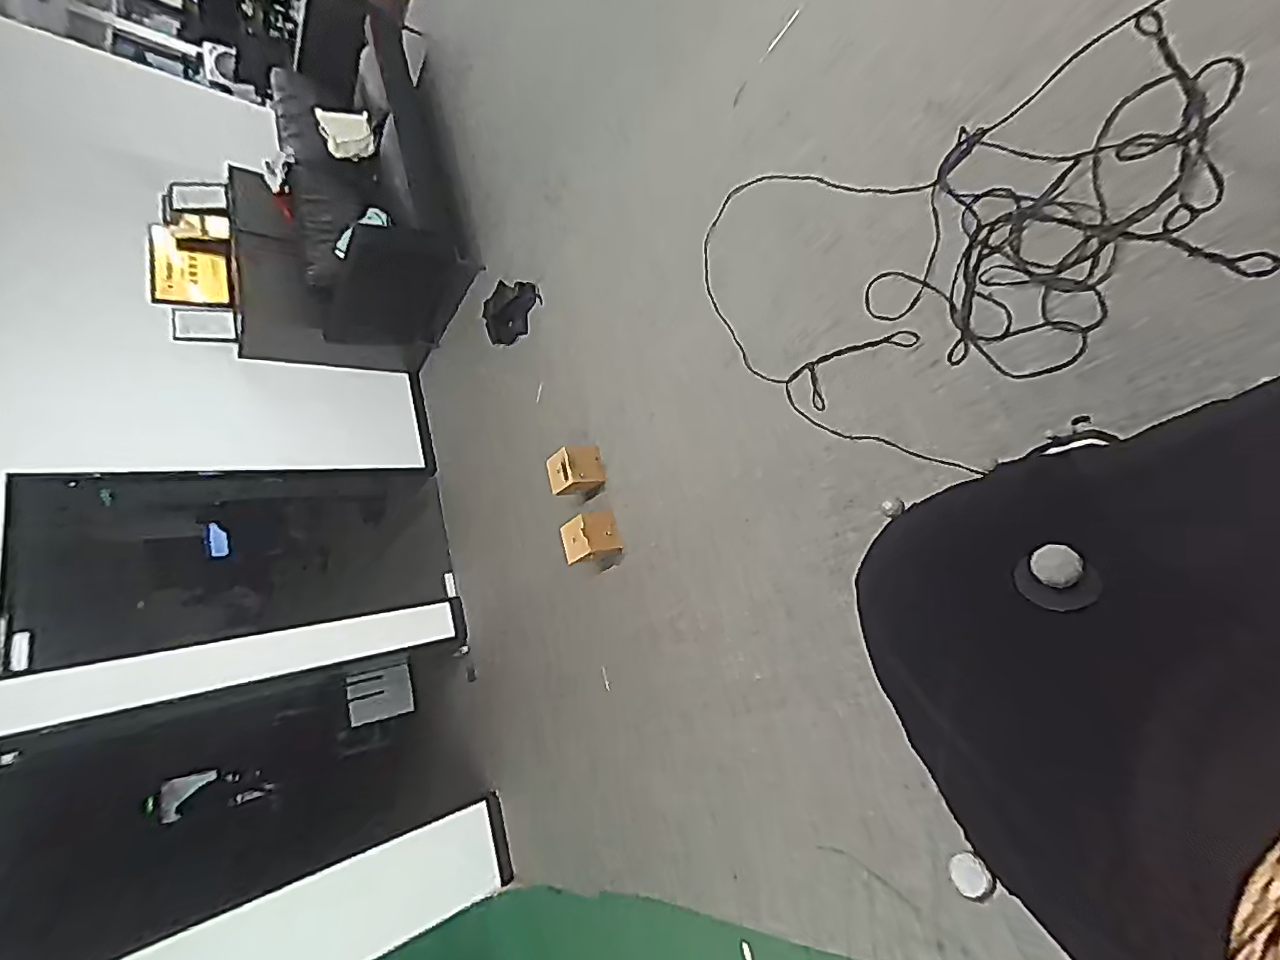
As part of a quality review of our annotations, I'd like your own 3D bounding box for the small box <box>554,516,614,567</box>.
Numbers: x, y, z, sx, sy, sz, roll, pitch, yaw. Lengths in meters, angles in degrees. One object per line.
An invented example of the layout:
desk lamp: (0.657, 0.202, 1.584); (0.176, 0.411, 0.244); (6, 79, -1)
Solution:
small box: (-0.235, 0.257, 2.273); (0.179, 0.176, 0.168); (-35, 65, 43)
